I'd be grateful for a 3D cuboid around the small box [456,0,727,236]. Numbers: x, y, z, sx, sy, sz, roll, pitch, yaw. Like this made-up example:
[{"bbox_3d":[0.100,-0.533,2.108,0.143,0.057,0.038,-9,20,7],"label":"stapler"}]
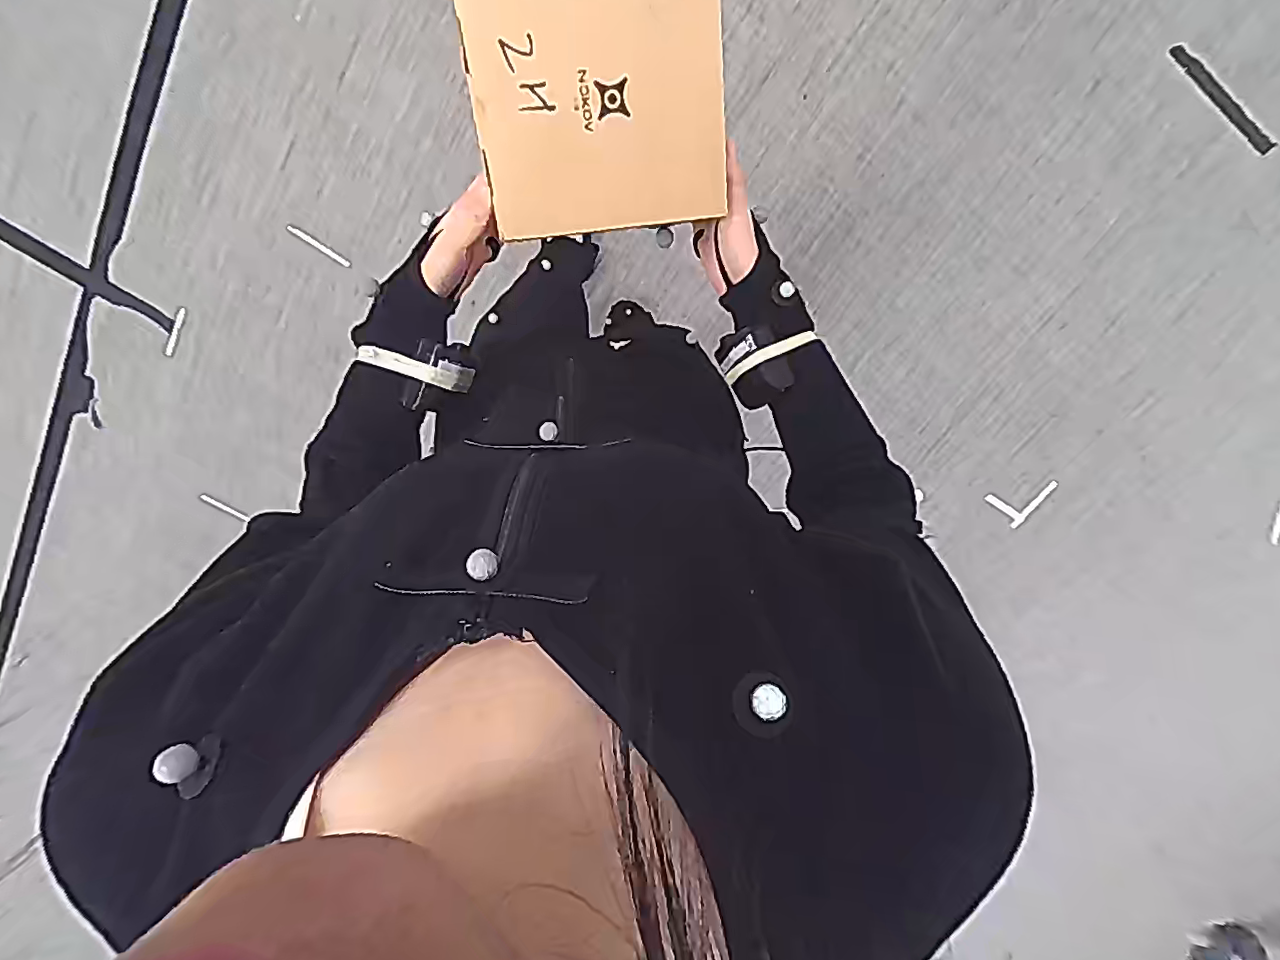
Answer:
[{"bbox_3d":[-0.034,-0.300,0.444,0.179,0.176,0.168,-7,115,-2],"label":"small box"}]
